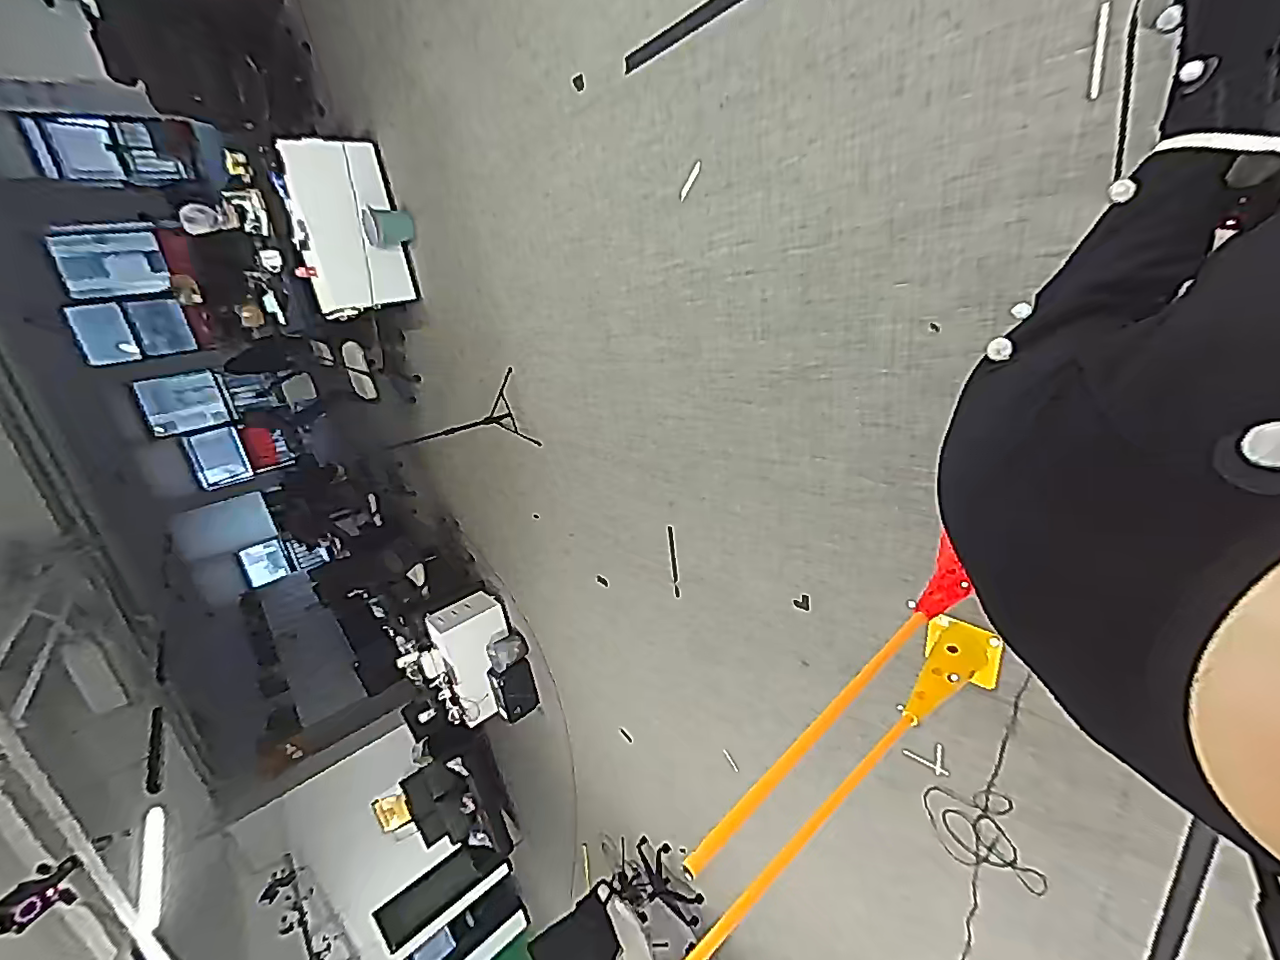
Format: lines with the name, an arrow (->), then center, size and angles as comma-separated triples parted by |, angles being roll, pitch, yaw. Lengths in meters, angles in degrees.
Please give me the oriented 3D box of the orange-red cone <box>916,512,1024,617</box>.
orange-red cone -> 0.807, 0.254, 1.398 | 0.198, 0.360, 0.199 | 23, 126, 43
